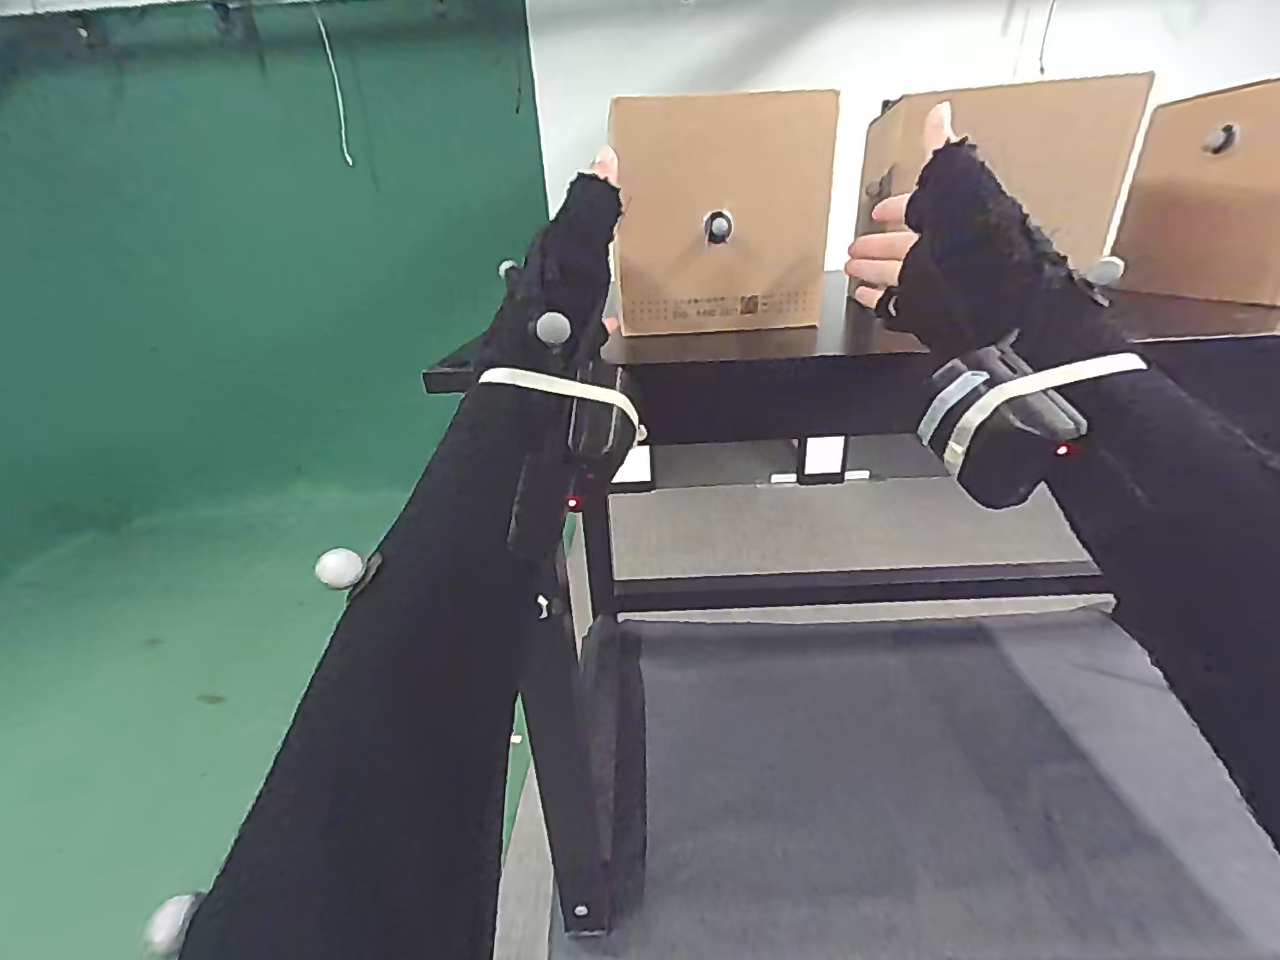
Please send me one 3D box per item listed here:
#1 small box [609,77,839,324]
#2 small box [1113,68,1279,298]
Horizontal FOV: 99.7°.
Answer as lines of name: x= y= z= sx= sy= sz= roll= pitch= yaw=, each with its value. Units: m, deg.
small box: x=0.060 y=-0.236 z=0.485 sx=0.168 sy=0.176 sz=0.179 roll=-3 pitch=25 yaw=-2
small box: x=0.574 y=-0.252 z=0.464 sx=0.168 sy=0.176 sz=0.179 roll=-5 pitch=24 yaw=-3
